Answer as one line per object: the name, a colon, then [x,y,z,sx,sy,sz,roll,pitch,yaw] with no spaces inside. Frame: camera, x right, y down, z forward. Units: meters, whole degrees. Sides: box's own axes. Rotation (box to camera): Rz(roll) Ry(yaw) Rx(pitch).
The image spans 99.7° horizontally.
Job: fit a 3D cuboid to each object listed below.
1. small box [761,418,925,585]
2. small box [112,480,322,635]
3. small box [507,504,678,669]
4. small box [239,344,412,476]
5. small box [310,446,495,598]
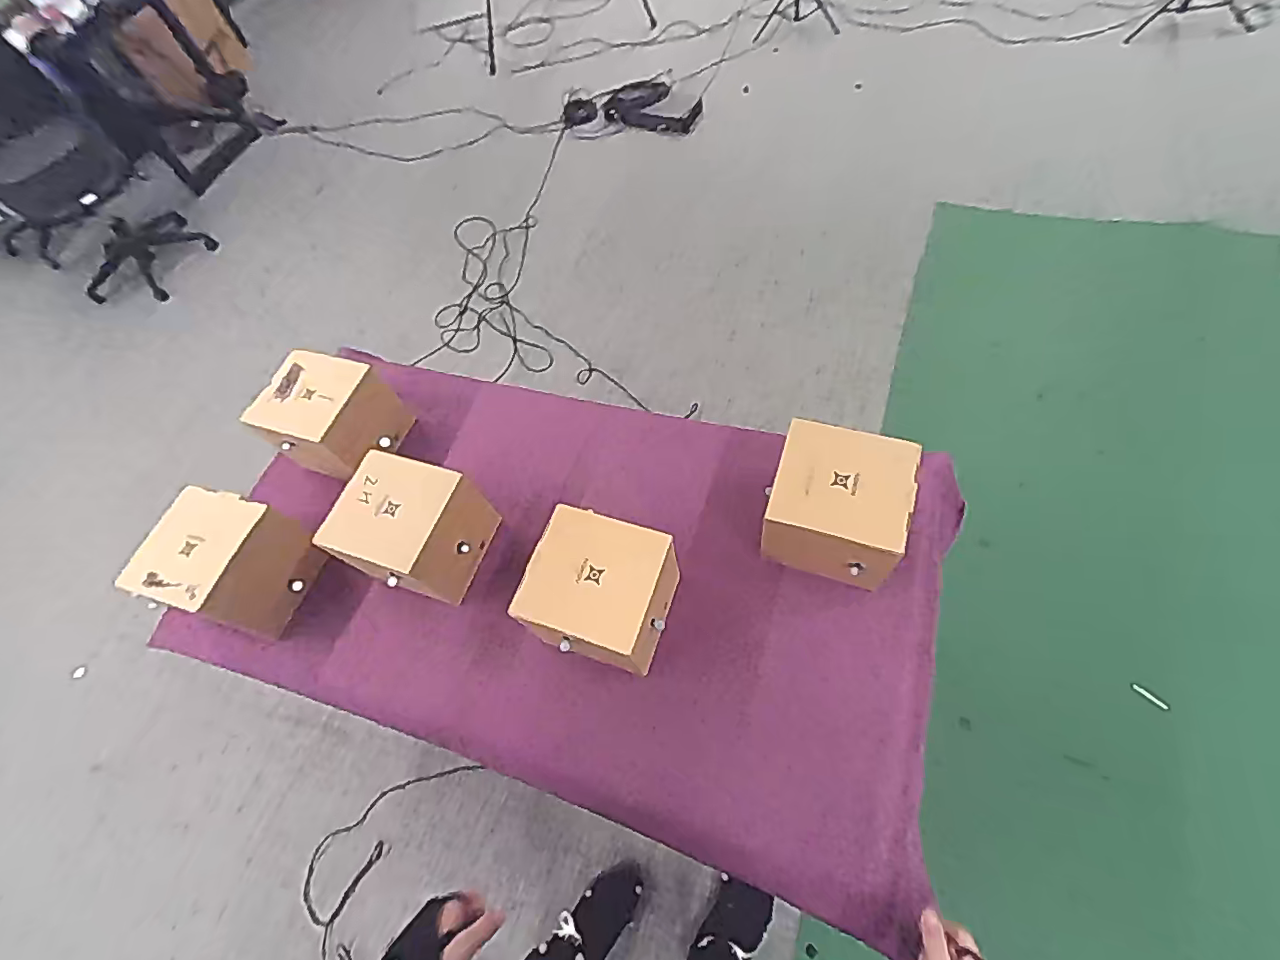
small box: [0.282,0.038,0.780,0.179,0.176,0.168,15,67,17]
small box: [-0.658,0.128,0.872,0.168,0.176,0.179,12,63,15]
small box: [-0.053,0.159,0.771,0.179,0.176,0.168,14,66,17]
small box: [-0.562,-0.119,0.991,0.179,0.176,0.168,14,66,15]
small box: [-0.359,0.073,0.859,0.179,0.176,0.168,15,65,16]
